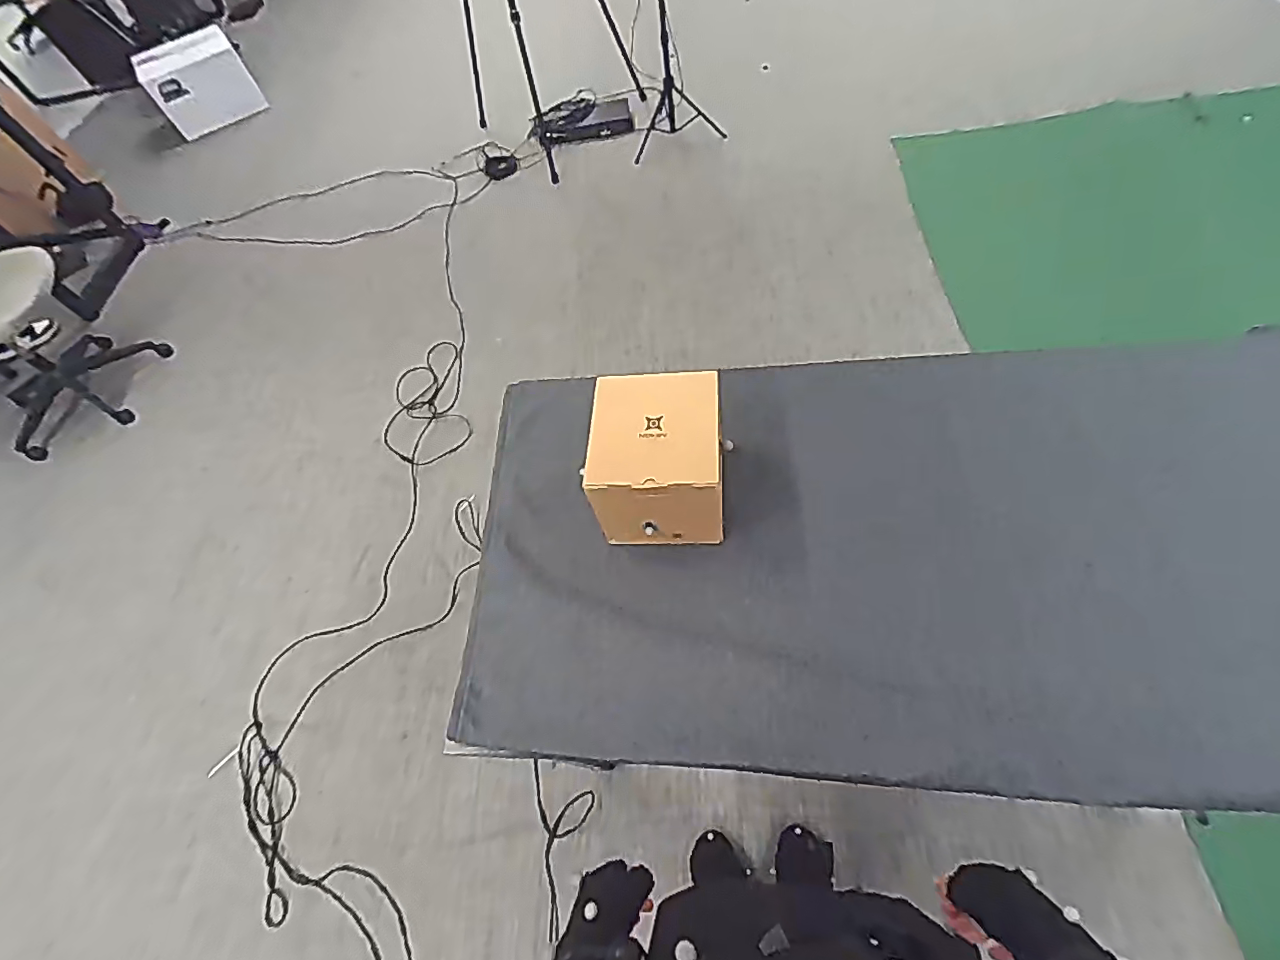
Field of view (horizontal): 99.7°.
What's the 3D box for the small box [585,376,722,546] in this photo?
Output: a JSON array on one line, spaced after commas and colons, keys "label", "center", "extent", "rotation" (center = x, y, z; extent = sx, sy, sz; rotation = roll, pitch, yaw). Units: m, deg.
[{"label": "small box", "center": [0.029, -0.022, 0.751], "extent": [0.168, 0.176, 0.179], "rotation": [-1, 60, 9]}]
